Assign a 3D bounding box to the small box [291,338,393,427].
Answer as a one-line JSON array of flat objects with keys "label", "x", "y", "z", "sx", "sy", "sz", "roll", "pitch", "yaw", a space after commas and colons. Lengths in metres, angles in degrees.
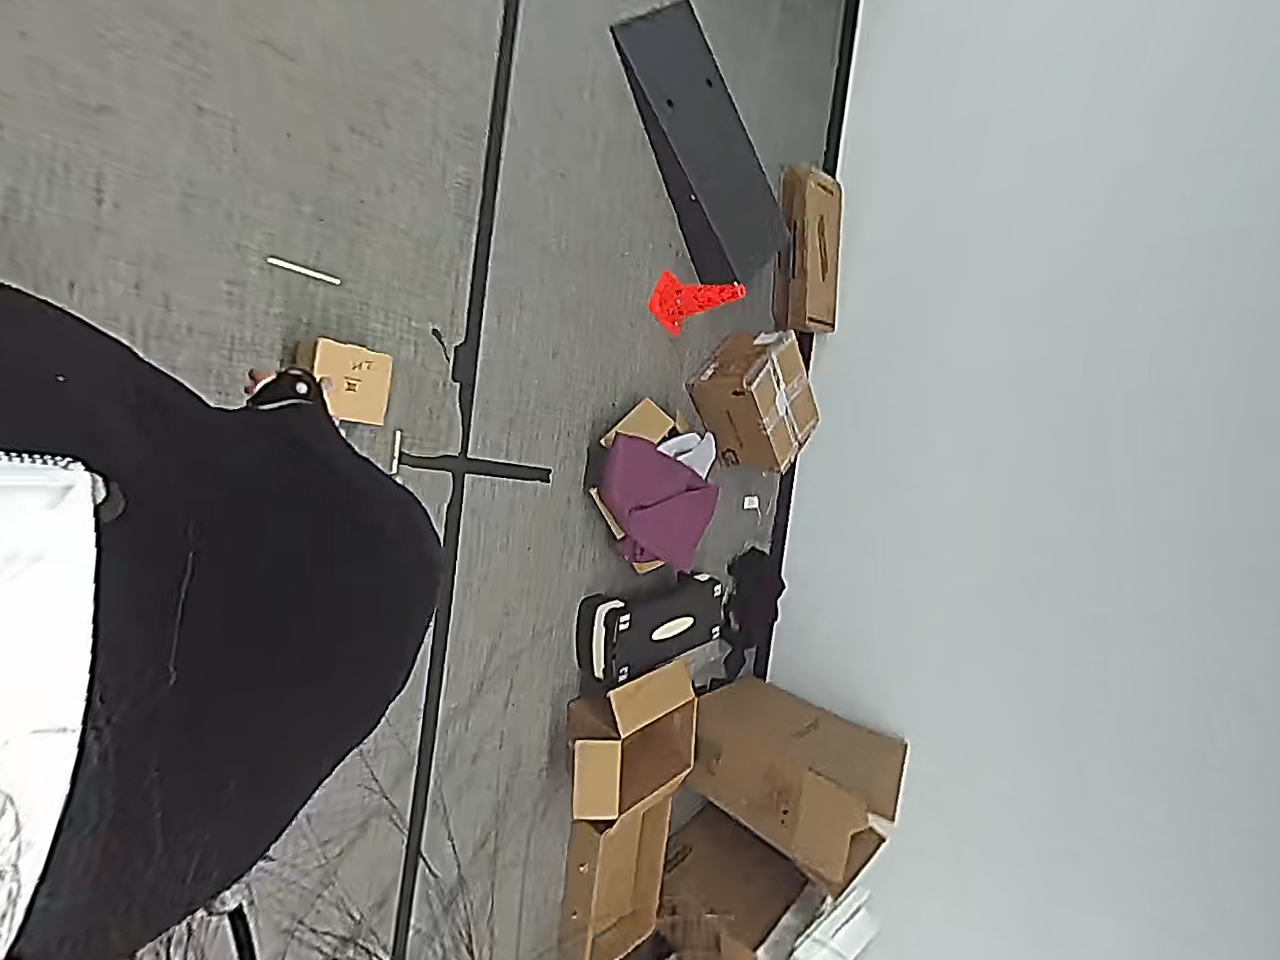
[{"label": "small box", "x": -0.726, "y": -0.231, "z": 1.311, "sx": 0.168, "sy": 0.176, "sz": 0.179, "roll": 8, "pitch": 90, "yaw": -46}]
